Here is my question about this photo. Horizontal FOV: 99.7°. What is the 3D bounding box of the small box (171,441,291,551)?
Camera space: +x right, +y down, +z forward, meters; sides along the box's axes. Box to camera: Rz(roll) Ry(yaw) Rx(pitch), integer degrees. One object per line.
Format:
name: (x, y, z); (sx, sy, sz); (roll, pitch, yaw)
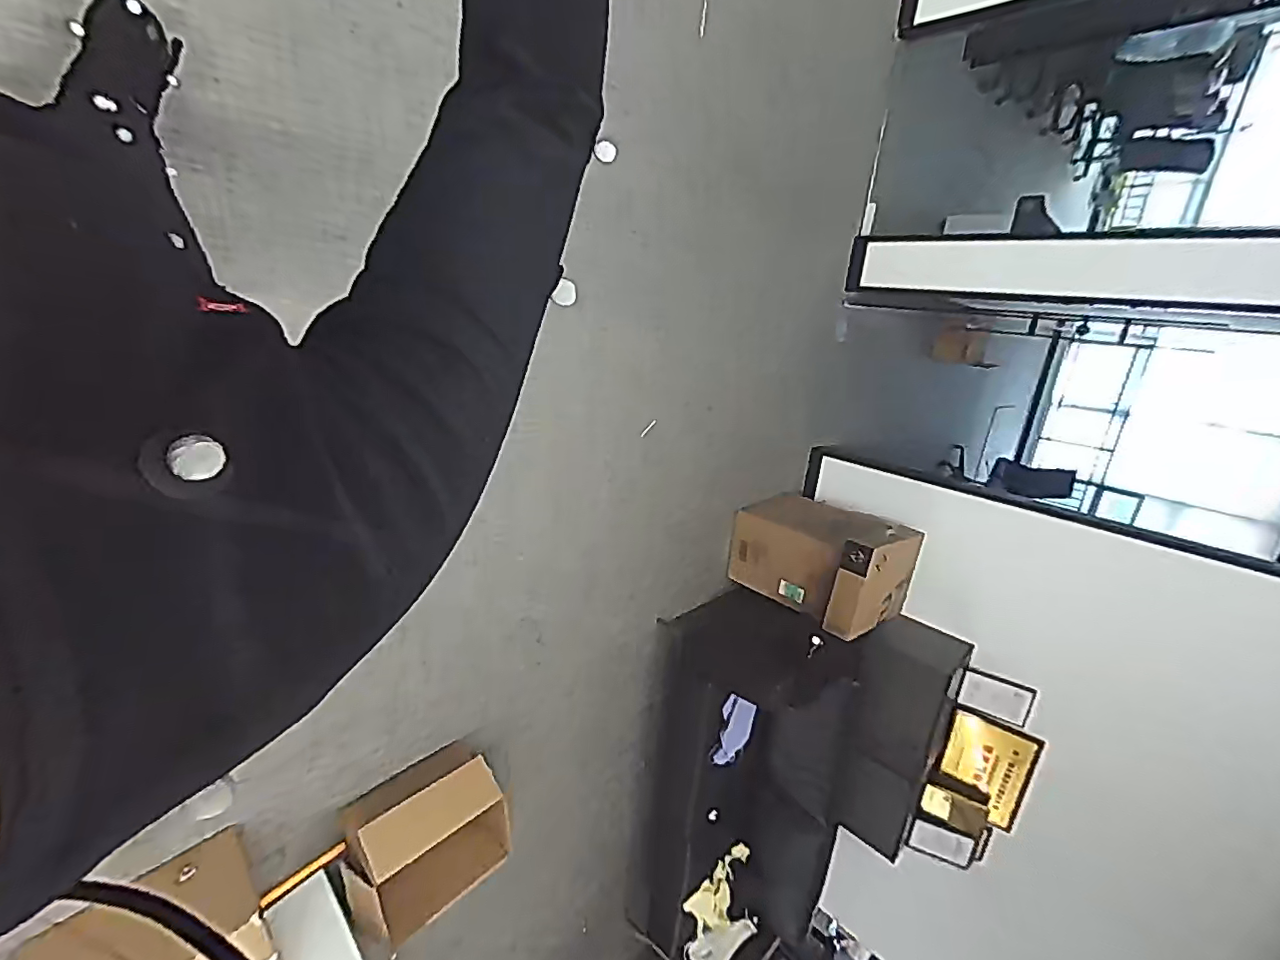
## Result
small box: (-0.894, 0.028, 1.184); (0.168, 0.176, 0.179); (-18, 119, -43)
